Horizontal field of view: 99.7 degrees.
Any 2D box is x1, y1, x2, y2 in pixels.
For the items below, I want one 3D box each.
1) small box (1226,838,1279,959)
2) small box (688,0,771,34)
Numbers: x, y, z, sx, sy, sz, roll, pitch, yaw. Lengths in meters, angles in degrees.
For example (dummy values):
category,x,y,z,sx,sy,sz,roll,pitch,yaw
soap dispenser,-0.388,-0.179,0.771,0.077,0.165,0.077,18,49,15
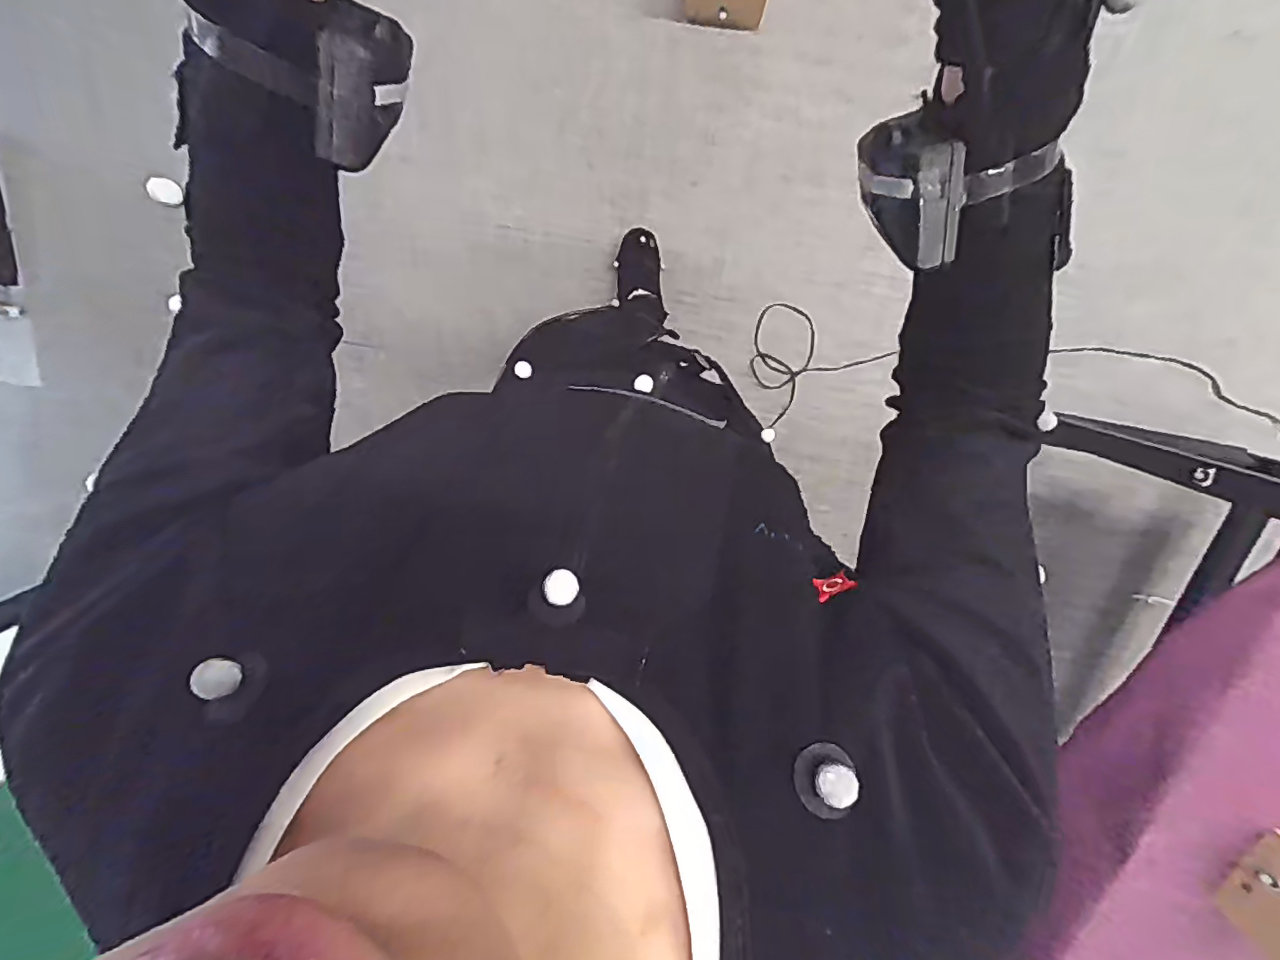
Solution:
category,x,y,z,sx,sy,sz,roll,pitch,yaw
small box,1.027,0.647,0.765,0.179,0.176,0.168,15,107,0
small box,0.189,-1.034,1.066,0.168,0.176,0.179,10,108,1
